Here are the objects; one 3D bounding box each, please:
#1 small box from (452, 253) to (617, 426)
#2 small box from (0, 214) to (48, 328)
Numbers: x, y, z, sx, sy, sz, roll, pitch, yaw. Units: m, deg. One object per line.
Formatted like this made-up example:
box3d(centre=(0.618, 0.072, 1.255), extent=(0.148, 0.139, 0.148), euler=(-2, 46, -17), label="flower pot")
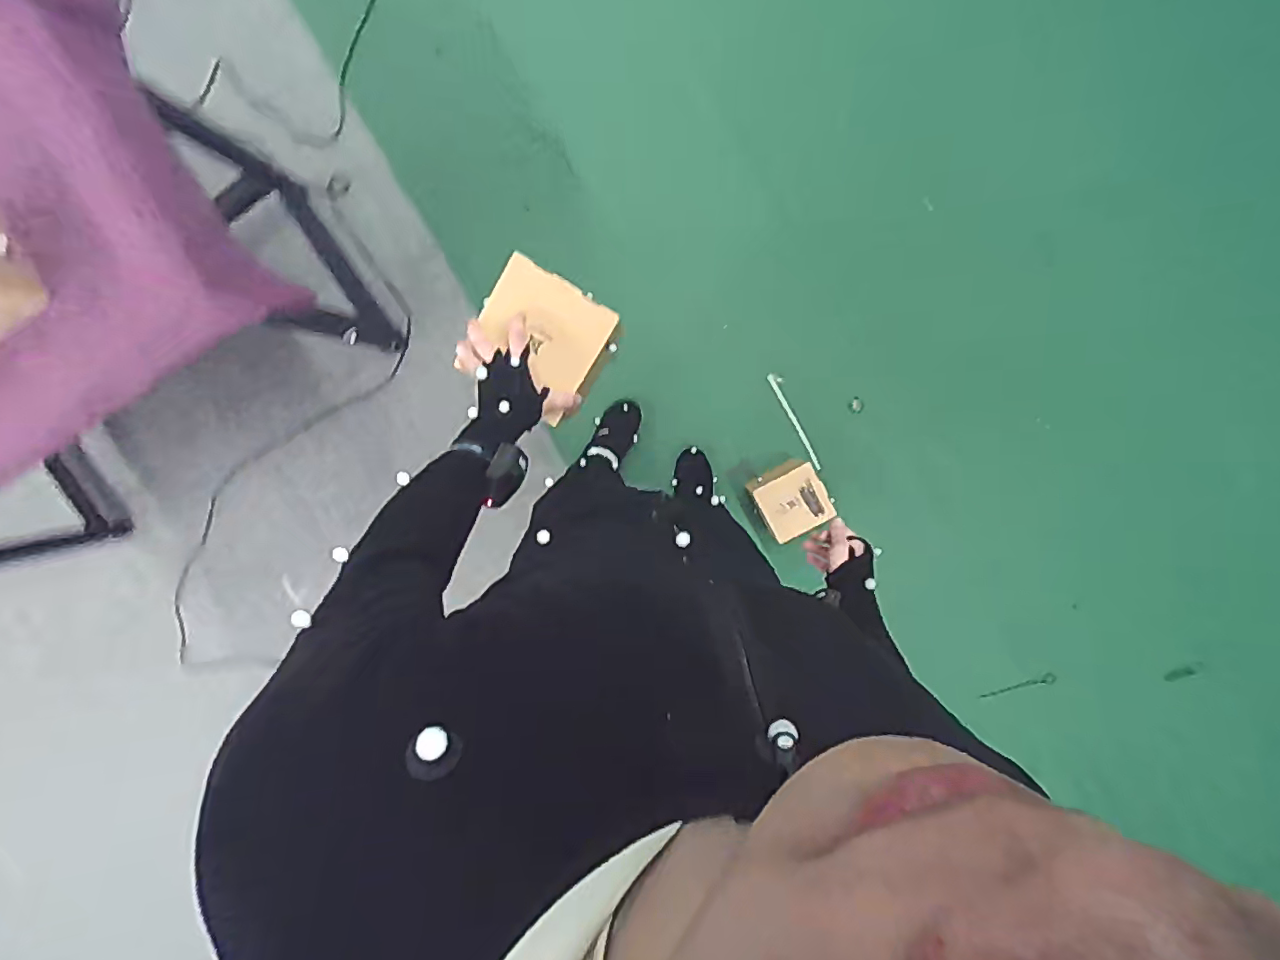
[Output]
box3d(centre=(-0.143, -0.199, 0.807), extent=(0.168, 0.176, 0.179), euler=(30, 98, -3), label="small box")
box3d(centre=(-1.118, -0.348, 0.846), extent=(0.168, 0.176, 0.179), euler=(-28, 94, 7), label="small box")
